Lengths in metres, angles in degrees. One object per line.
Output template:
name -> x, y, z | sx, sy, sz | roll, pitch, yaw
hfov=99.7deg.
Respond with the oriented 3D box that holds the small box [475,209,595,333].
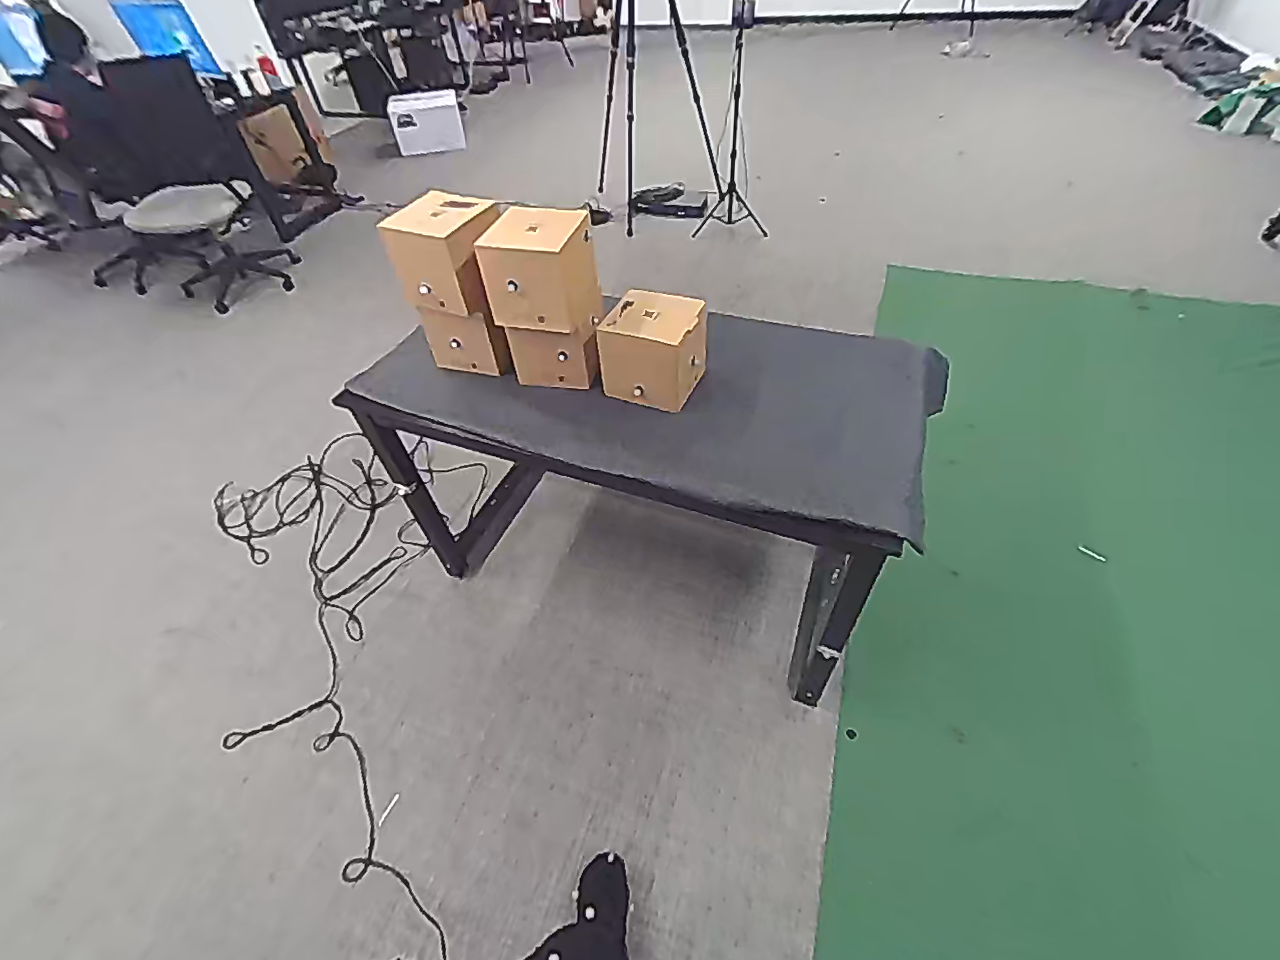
small box -> -0.193, -0.408, 1.061 | 0.168, 0.176, 0.179 | 9, 49, 10
